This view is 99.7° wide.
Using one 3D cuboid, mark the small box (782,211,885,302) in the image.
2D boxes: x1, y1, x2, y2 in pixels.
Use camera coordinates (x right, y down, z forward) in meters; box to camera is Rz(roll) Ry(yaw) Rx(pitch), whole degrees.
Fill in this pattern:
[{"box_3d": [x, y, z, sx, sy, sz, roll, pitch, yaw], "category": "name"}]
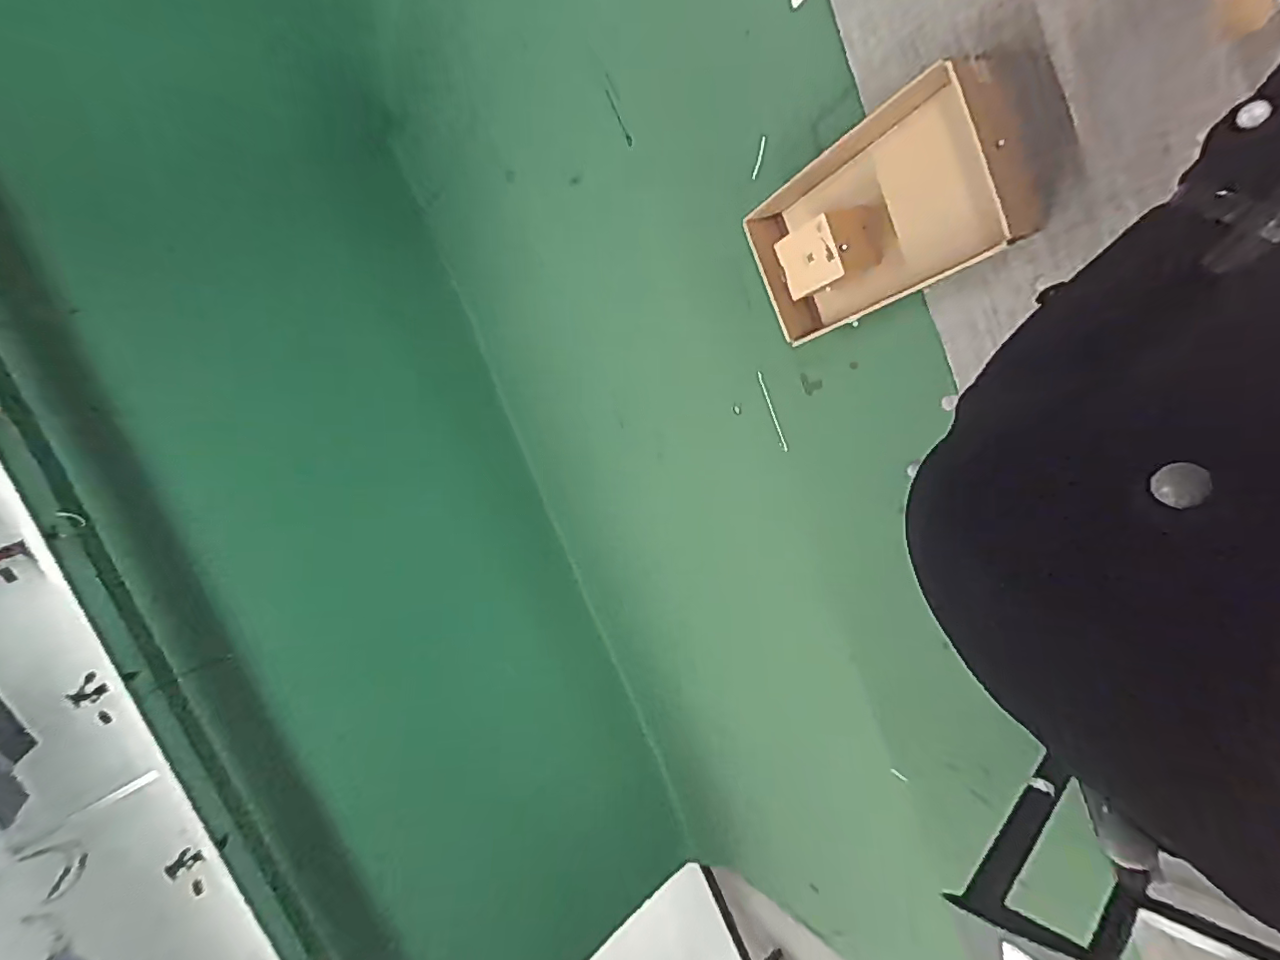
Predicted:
[{"box_3d": [0.525, -0.605, 1.469, 0.179, 0.176, 0.168, -13, 99, 58], "category": "small box"}]
